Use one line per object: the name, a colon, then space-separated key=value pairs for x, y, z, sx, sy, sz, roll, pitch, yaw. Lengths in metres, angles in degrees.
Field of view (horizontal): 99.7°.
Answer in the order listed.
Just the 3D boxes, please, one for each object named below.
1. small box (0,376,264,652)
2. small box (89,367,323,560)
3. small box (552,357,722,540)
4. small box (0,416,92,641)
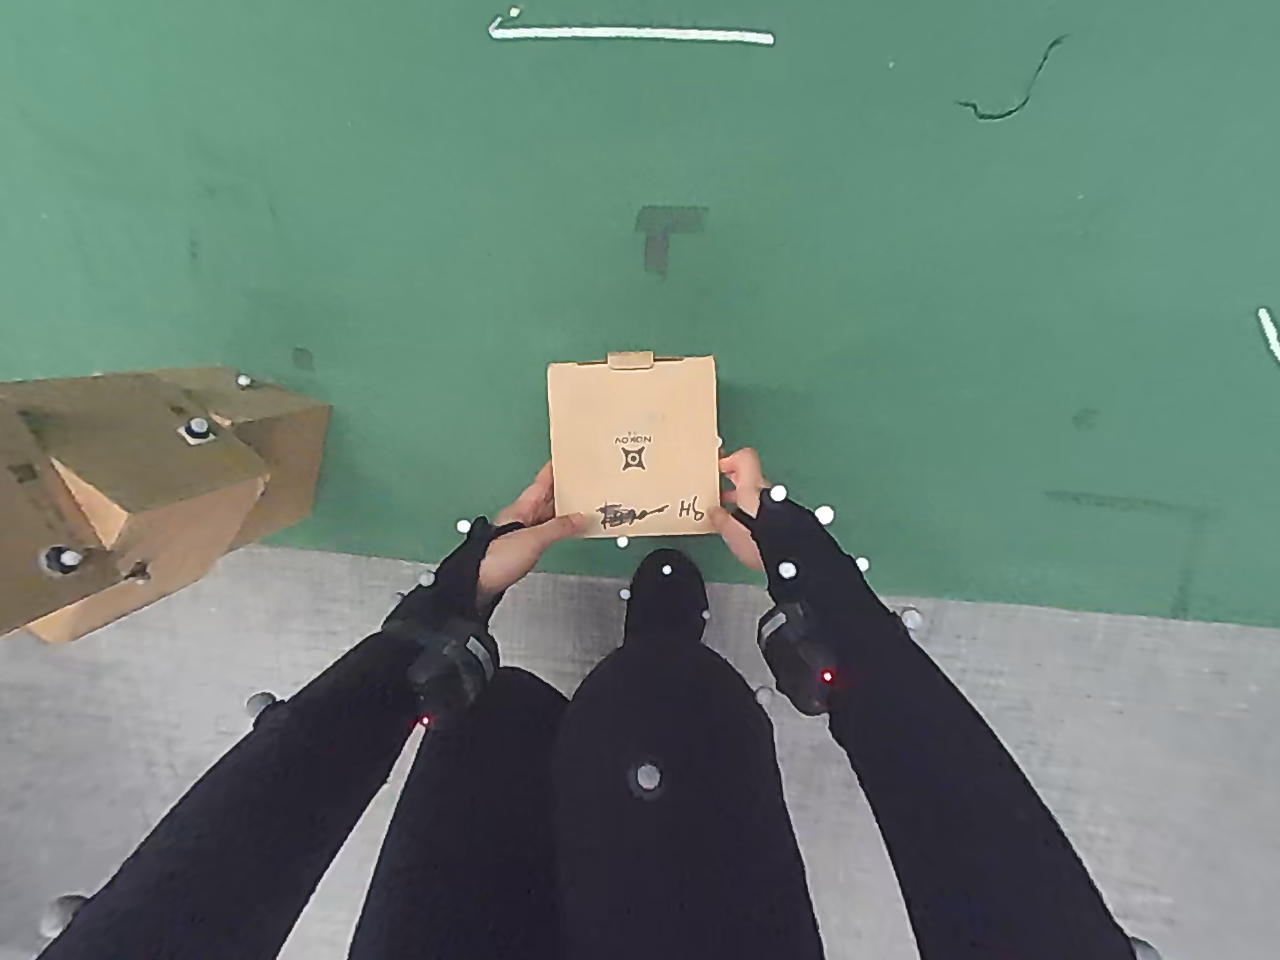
small box: x=-0.518 y=0.019 z=0.522 sx=0.168 sy=0.176 sz=0.179 roll=40 pitch=104 yaw=-7
small box: x=-0.534 y=-0.031 z=0.679 sx=0.168 sy=0.176 sz=0.179 roll=20 pitch=105 yaw=-1
small box: x=-0.001 y=-0.034 z=0.608 sx=0.168 sy=0.176 sz=0.179 roll=-2 pitch=94 yaw=2
small box: x=-0.541 y=0.061 z=0.364 sx=0.179 sy=0.176 sz=0.168 roll=-18 pitch=103 yaw=11
